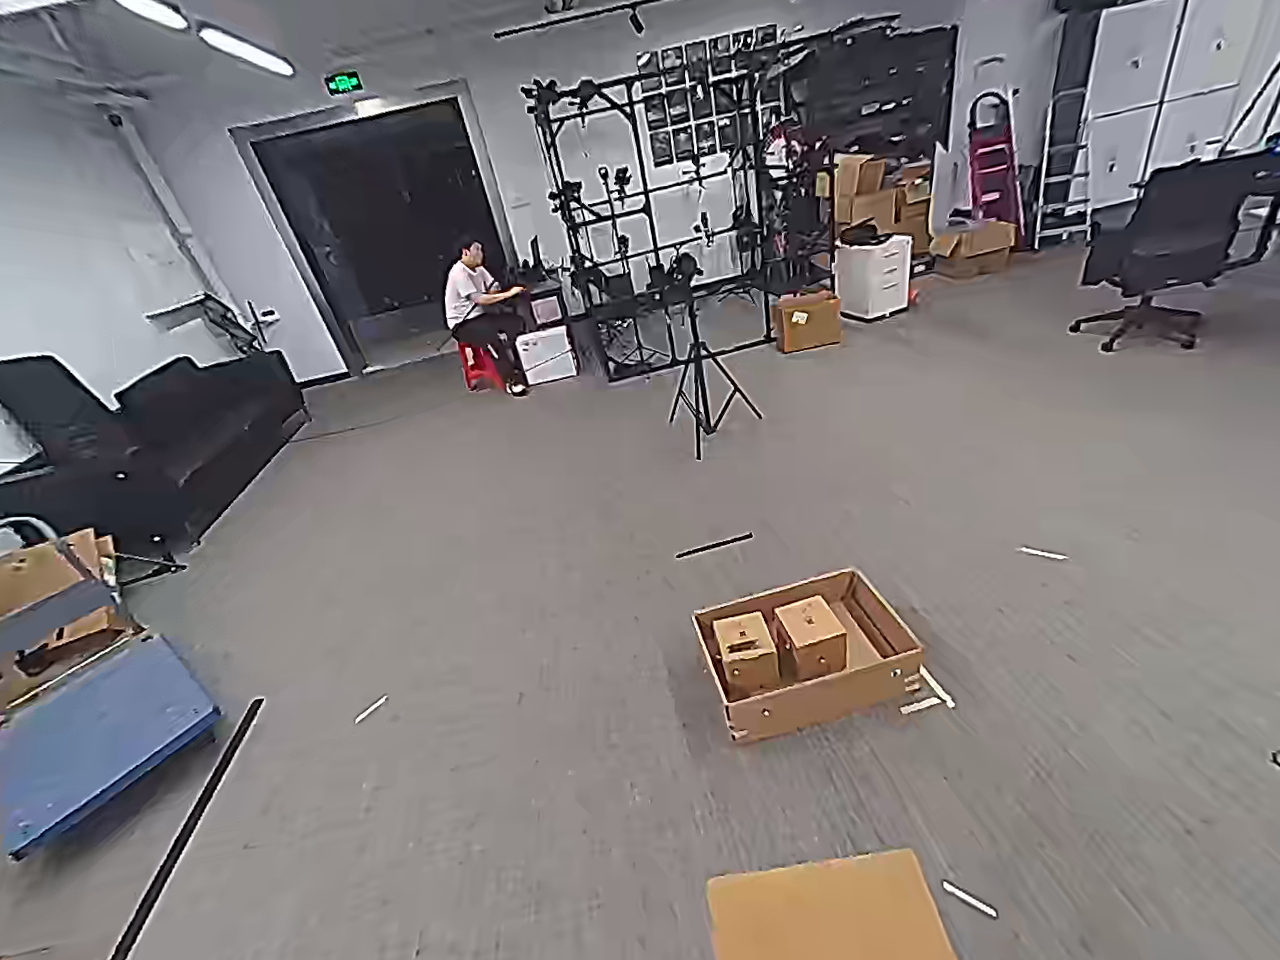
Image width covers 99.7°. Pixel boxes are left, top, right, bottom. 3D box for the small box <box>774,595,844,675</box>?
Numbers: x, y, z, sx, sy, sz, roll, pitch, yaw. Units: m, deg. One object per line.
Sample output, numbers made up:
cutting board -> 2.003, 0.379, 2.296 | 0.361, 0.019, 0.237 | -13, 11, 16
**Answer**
small box -> 0.554, 0.514, 1.769 | 0.168, 0.176, 0.179 | -15, 31, -4
